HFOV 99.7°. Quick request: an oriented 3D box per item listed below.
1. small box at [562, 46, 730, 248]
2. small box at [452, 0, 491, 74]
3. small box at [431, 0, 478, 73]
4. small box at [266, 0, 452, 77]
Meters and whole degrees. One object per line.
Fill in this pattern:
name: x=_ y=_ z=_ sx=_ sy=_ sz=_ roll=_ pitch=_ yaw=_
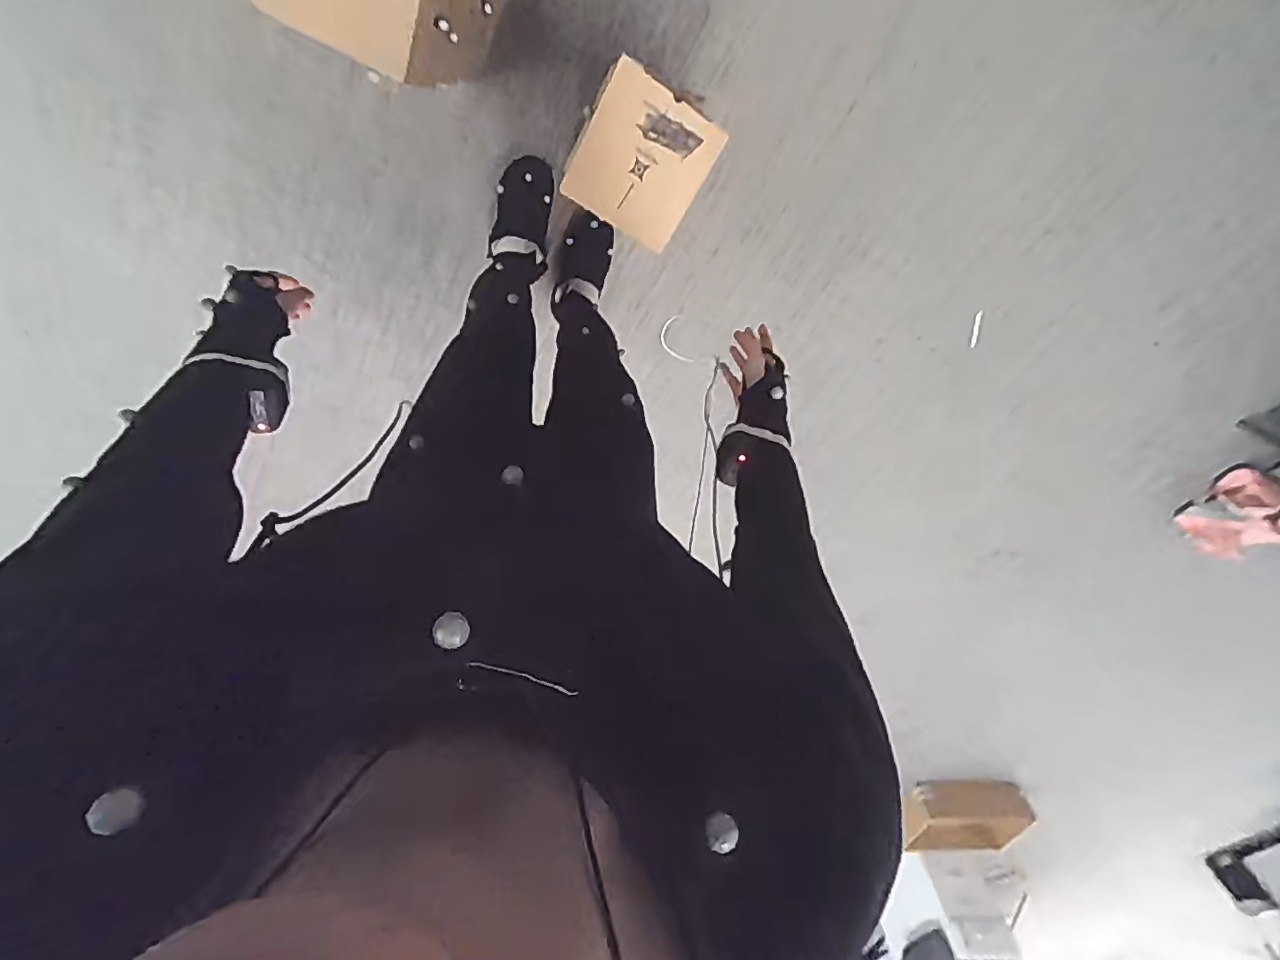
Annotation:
small box: x=0.000 y=-0.474 z=0.779 sx=0.168 sy=0.176 sz=0.179 roll=25 pitch=120 yaw=-20
small box: x=-0.358 y=-0.819 z=0.908 sx=0.179 sy=0.176 sz=0.168 roll=20 pitch=121 yaw=-16
small box: x=-0.344 y=-0.719 z=0.779 sx=0.179 sy=0.176 sz=0.168 roll=19 pitch=121 yaw=-17
small box: x=-0.328 y=-0.619 z=0.647 sx=0.179 sy=0.176 sz=0.168 roll=20 pitch=120 yaw=-17
